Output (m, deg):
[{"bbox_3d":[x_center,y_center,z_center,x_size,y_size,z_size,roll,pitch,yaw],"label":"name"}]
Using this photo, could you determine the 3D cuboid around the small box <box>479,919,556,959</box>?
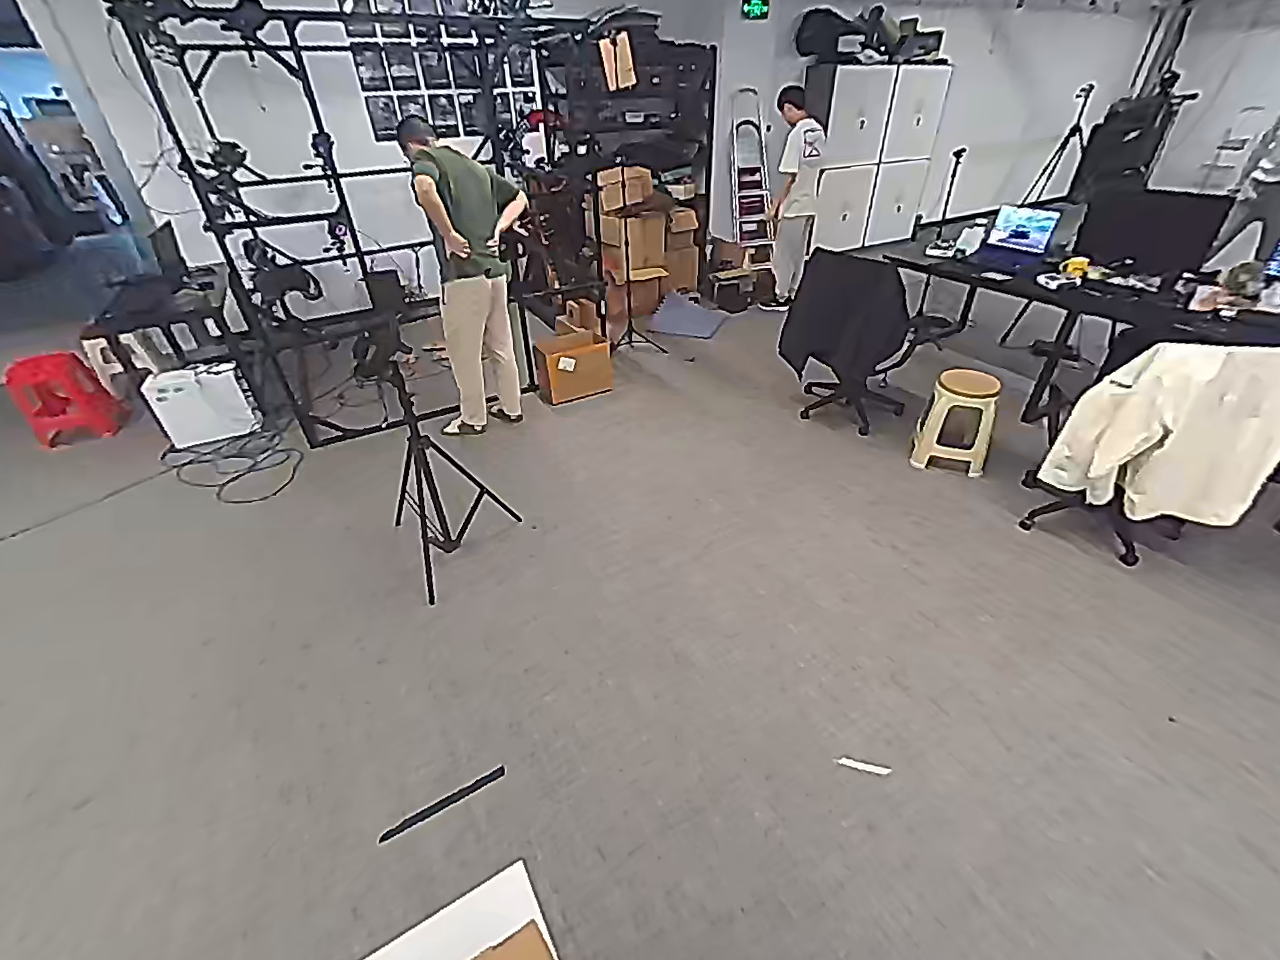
[{"bbox_3d":[-0.162,0.739,0.700,0.168,0.176,0.179,-23,40,-24],"label":"small box"}]
